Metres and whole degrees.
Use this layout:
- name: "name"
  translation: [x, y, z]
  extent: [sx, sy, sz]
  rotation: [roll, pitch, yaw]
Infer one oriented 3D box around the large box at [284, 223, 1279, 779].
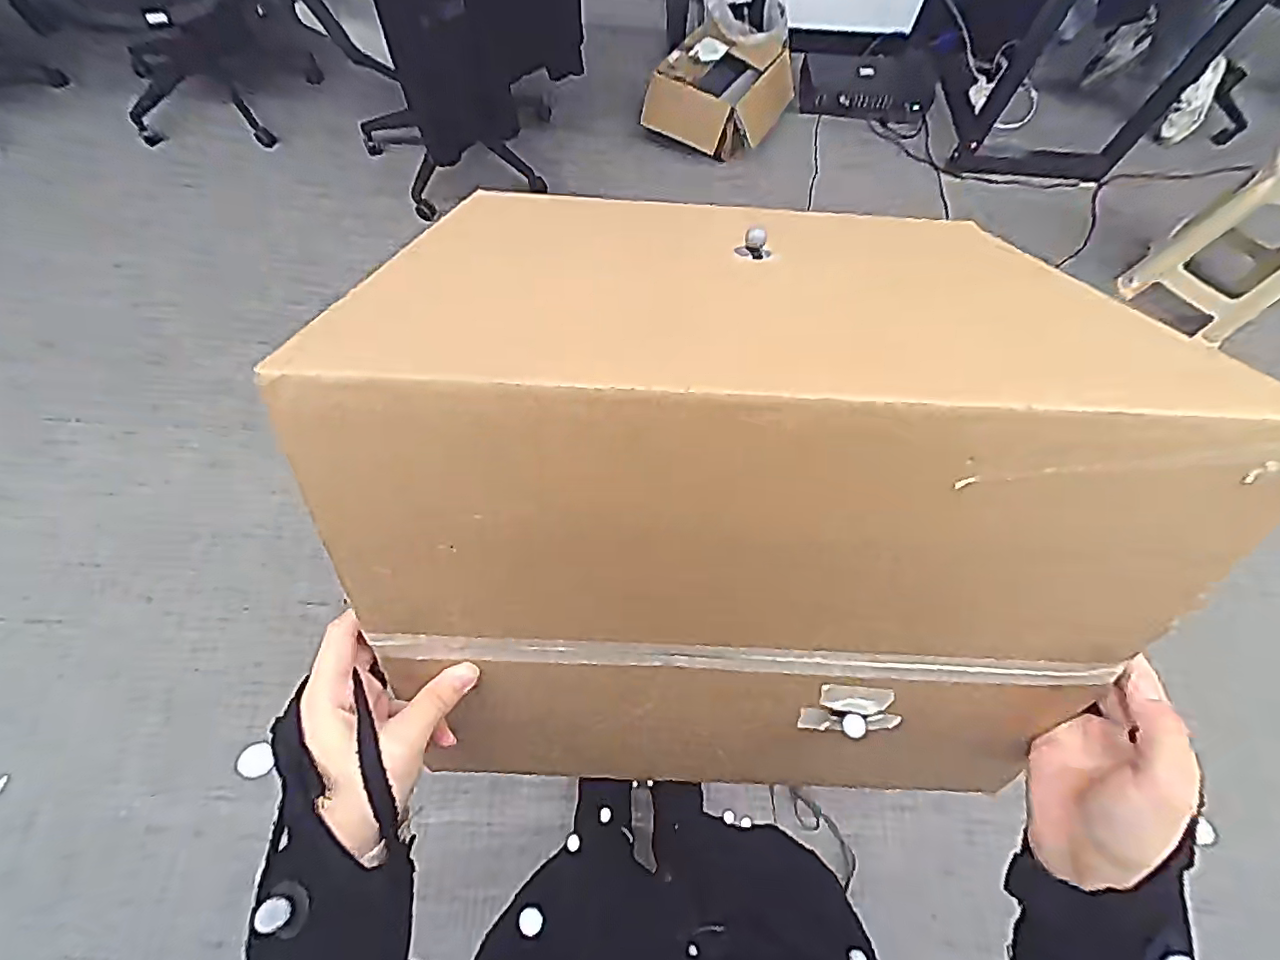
- name: "large box"
  translation: [0.054, 0.003, 0.417]
  extent: [0.408, 0.320, 0.320]
  rotation: [2, 39, -1]
